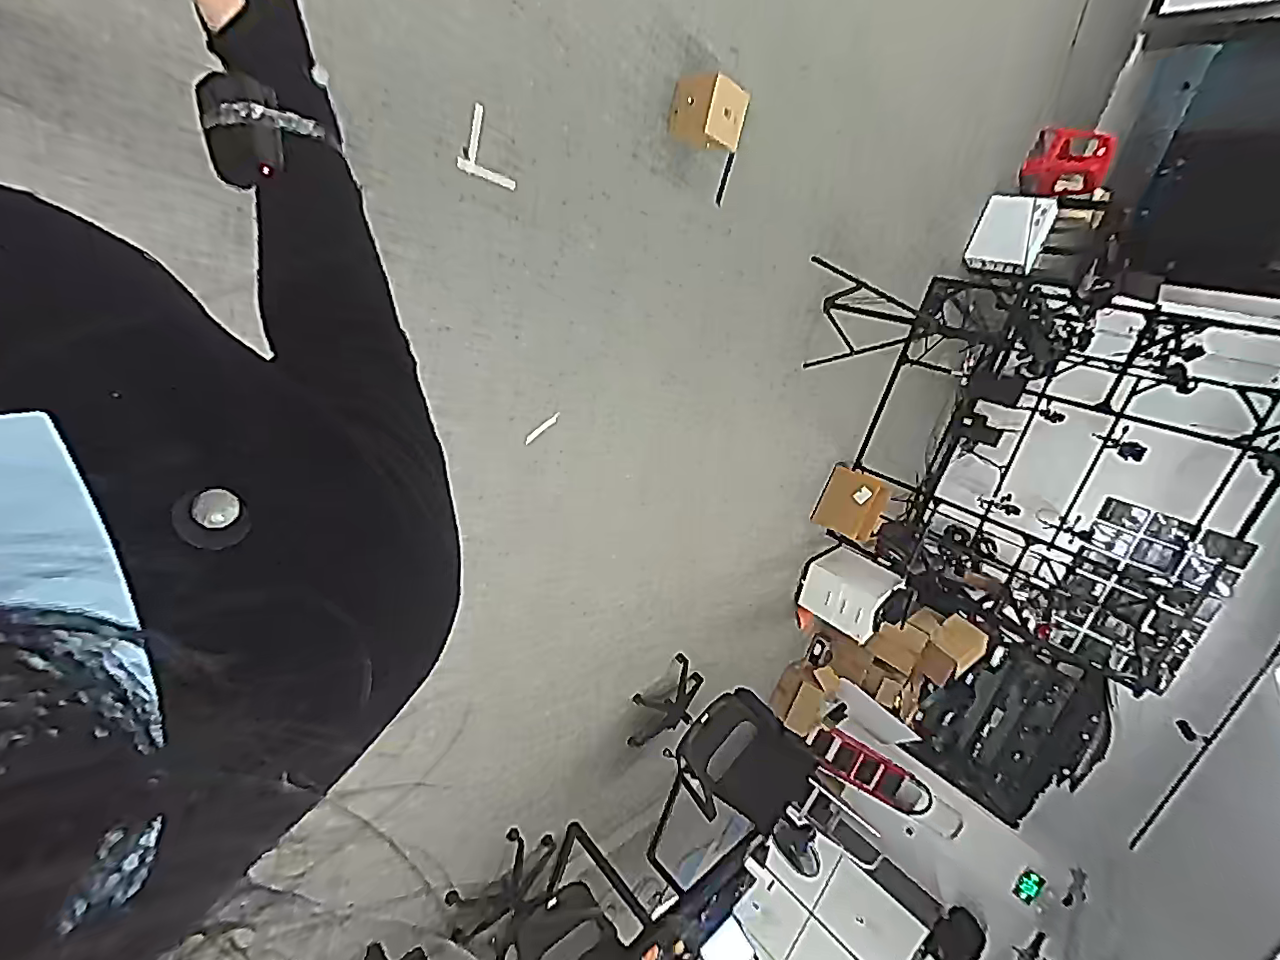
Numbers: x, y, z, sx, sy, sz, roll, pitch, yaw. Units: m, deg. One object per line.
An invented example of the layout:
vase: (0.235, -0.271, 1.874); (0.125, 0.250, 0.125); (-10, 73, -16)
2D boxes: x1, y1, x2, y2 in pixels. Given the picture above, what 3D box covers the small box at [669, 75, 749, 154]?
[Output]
small box: (0.221, -1.184, 1.764); (0.179, 0.176, 0.168); (-5, 117, -47)
